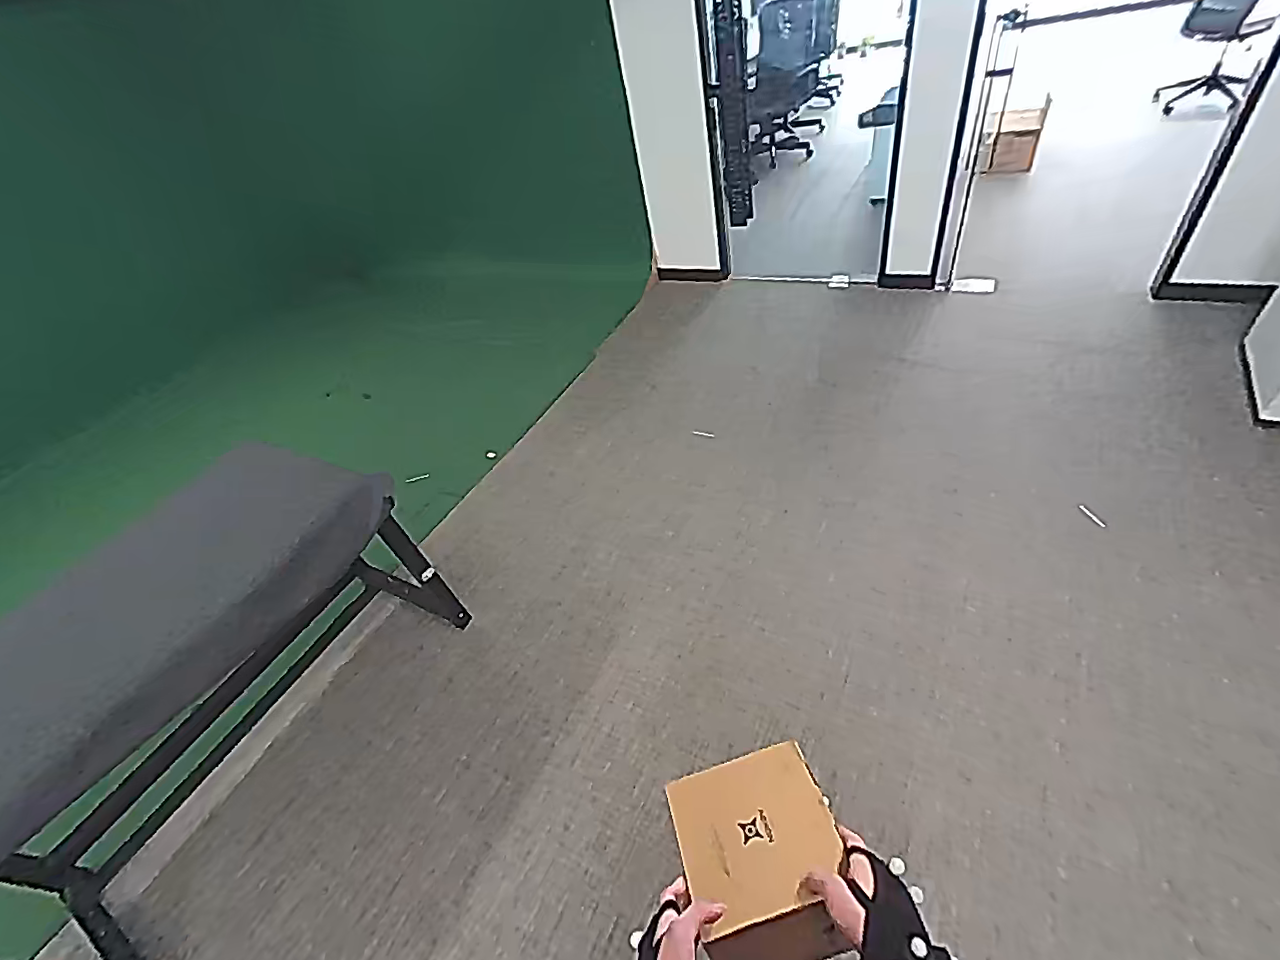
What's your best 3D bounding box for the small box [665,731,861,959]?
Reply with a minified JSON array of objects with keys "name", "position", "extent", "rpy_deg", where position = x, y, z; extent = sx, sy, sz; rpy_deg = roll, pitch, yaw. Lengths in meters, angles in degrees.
[{"name":"small box","position":[0.144,0.442,0.645],"extent":[0.179,0.176,0.168],"rpy_deg":[-18,30,0]}]
